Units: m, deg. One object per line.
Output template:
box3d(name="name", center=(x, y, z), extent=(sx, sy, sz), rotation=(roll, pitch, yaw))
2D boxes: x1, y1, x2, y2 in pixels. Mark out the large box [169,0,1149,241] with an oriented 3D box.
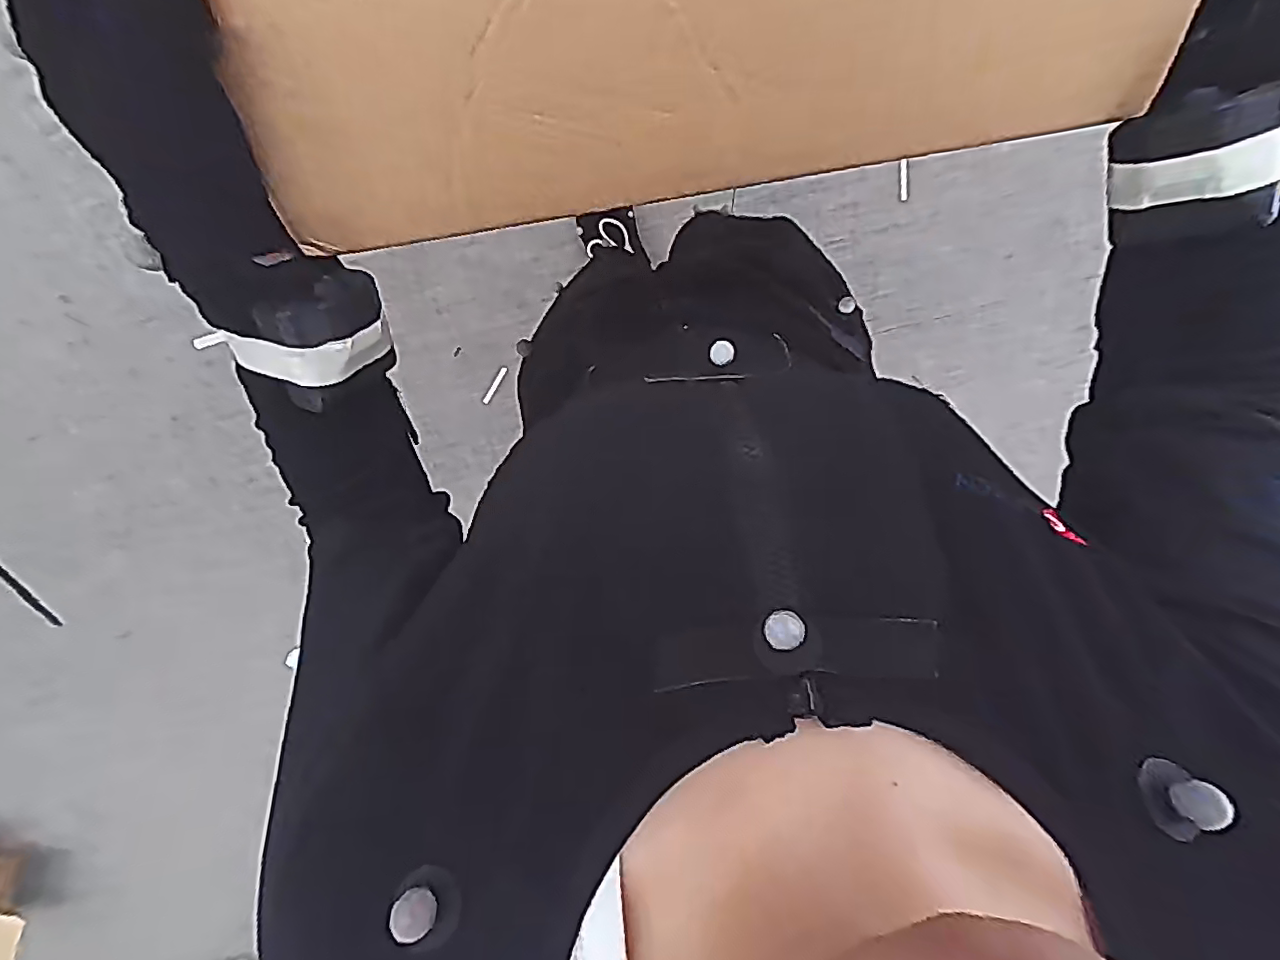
box3d(name="large box", center=(-0.002, -0.362, 0.254), extent=(0.408, 0.320, 0.320), rotation=(-9, 137, 1))
